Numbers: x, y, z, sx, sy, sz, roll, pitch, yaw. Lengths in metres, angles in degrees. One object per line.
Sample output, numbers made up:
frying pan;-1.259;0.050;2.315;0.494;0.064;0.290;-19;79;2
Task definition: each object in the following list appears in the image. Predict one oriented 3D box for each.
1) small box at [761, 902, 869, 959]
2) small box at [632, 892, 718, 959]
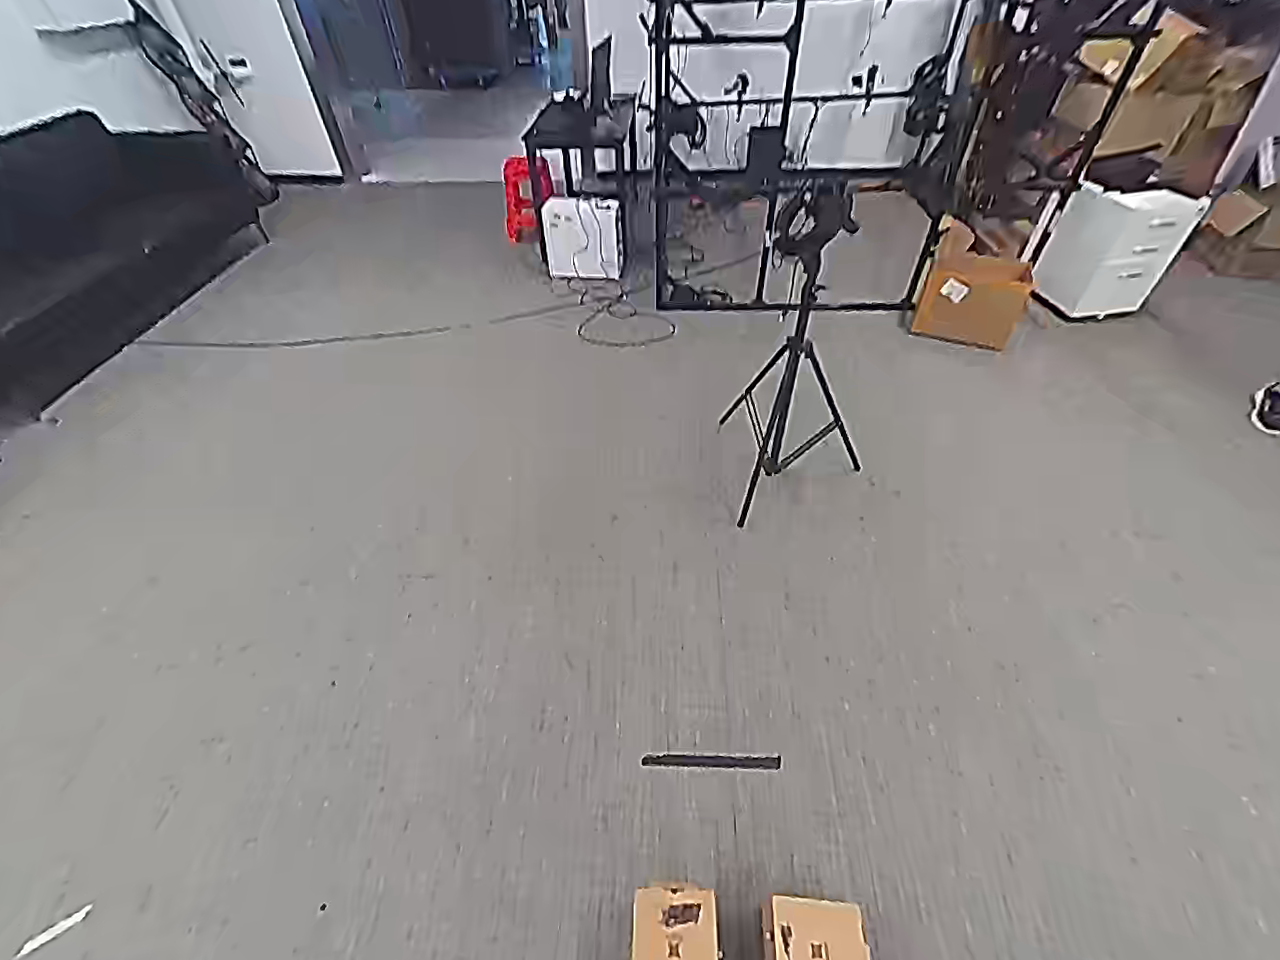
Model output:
small box;0.344;0.963;1.075;0.179;0.176;0.168;4;45;4
small box;0.068;0.957;1.089;0.168;0.176;0.179;0;45;3
